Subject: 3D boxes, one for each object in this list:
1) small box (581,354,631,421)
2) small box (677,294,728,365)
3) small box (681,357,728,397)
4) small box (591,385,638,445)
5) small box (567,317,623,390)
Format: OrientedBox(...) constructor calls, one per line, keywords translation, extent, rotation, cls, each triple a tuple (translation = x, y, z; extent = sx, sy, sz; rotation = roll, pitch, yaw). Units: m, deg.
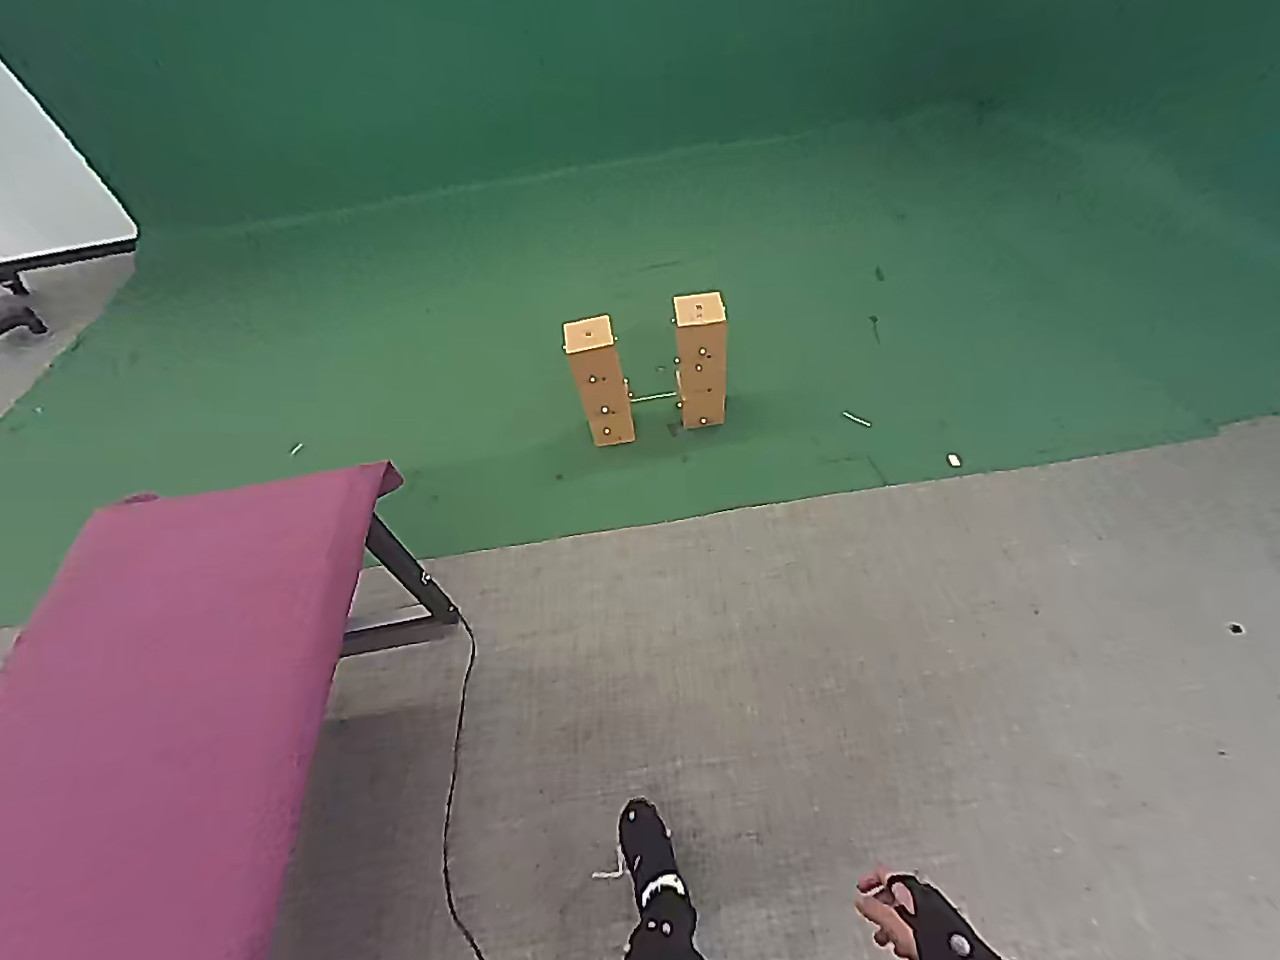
OrientedBox(translation=(-0.132, -0.350, 2.055), extent=(0.168, 0.176, 0.179), rotation=(-11, 51, 1), cls="small box")
OrientedBox(translation=(0.222, -0.538, 1.937), extent=(0.168, 0.176, 0.179), rotation=(-6, 52, 4), cls="small box")
OrientedBox(translation=(0.242, -0.440, 2.067), extent=(0.168, 0.176, 0.179), rotation=(-6, 51, 3), cls="small box")
OrientedBox(translation=(-0.105, -0.255, 2.186), extent=(0.168, 0.176, 0.179), rotation=(-9, 50, 2), cls="small box")
OrientedBox(translation=(-0.159, -0.449, 1.928), extent=(0.168, 0.176, 0.179), rotation=(-11, 50, 1), cls="small box")
